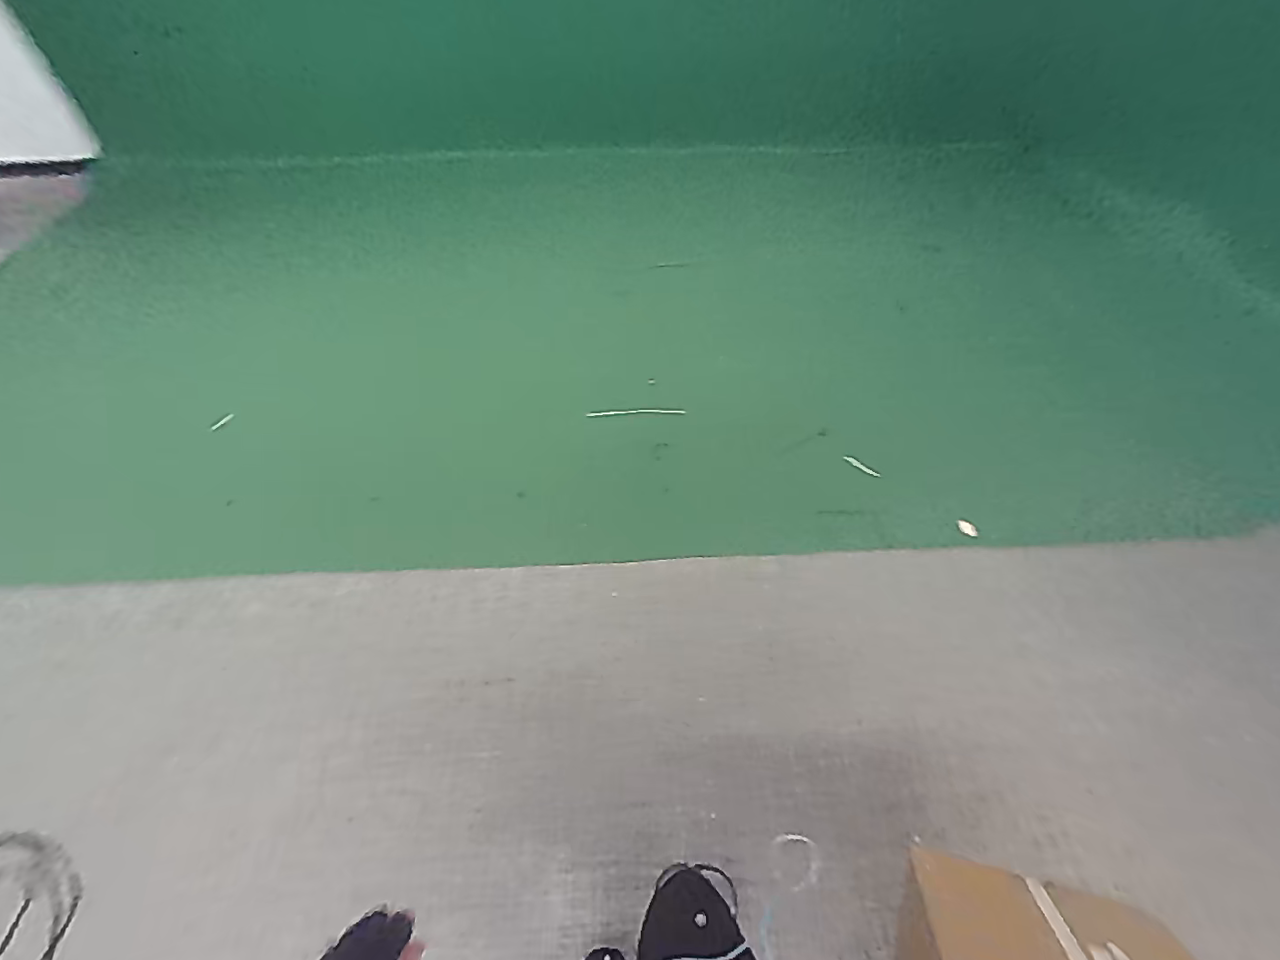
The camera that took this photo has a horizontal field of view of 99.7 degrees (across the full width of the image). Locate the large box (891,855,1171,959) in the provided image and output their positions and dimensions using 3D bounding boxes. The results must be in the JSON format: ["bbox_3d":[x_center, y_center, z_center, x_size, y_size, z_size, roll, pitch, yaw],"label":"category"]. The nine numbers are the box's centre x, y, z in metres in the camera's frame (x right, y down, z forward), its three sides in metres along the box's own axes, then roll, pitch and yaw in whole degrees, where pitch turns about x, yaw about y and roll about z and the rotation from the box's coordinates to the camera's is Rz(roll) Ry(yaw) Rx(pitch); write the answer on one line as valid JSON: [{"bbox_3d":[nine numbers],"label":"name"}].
[{"bbox_3d":[0.473,0.734,0.594,0.320,0.408,0.320,9,91,17],"label":"large box"}]
